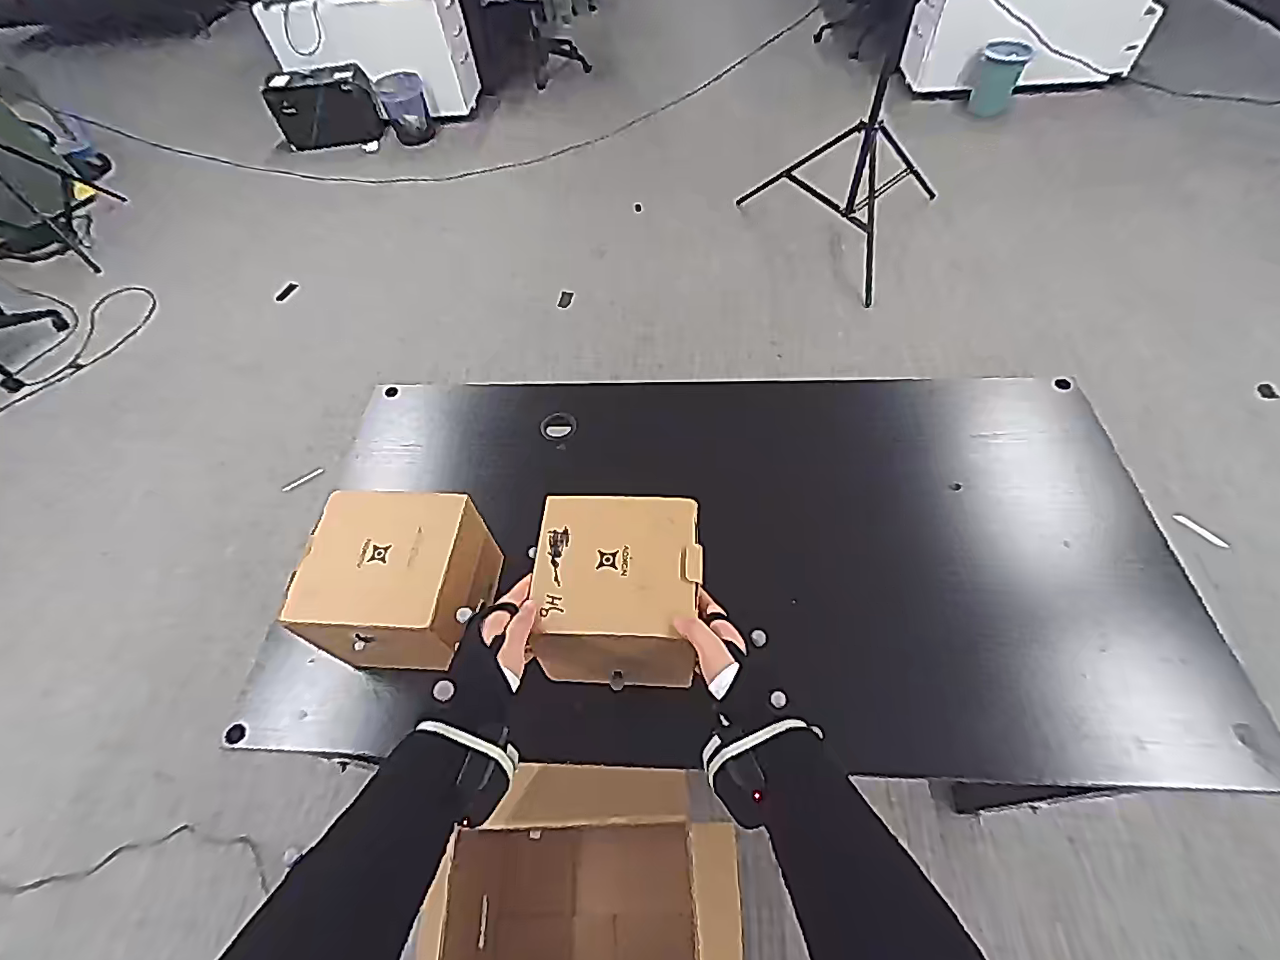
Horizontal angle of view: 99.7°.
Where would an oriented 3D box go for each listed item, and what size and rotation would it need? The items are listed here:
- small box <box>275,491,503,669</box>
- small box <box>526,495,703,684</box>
[{"bbox_3d":[-0.287,0.127,0.666,0.179,0.176,0.168,1,57,4],"label":"small box"},{"bbox_3d":[-0.021,0.134,0.638,0.179,0.176,0.168,2,55,3],"label":"small box"}]
